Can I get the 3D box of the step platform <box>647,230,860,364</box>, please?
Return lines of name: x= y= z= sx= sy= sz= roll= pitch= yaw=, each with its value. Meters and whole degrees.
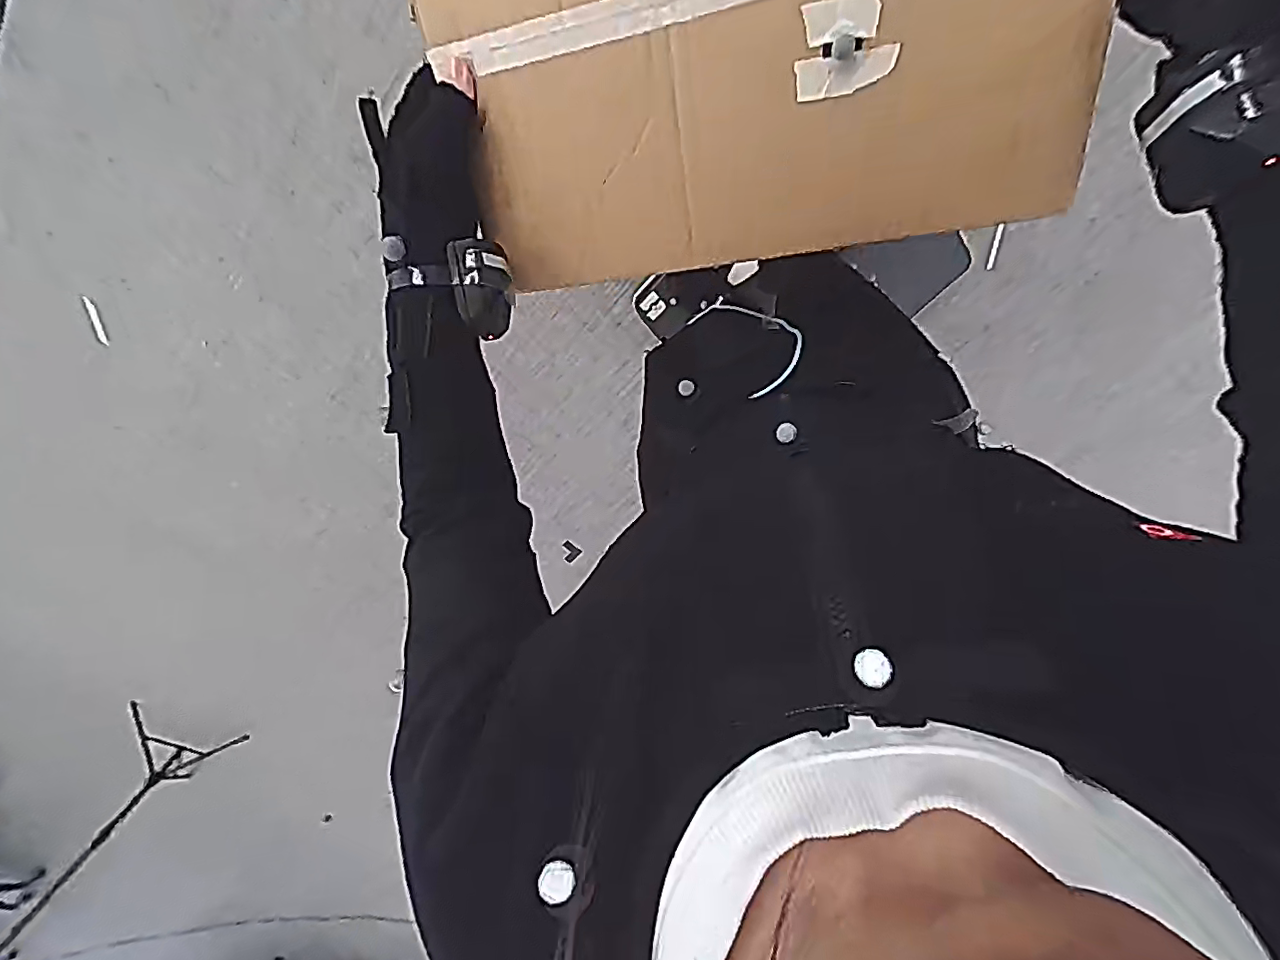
step platform: x=0.326 y=-0.613 z=1.315 sx=0.286 sy=0.204 sz=0.684 roll=39 pitch=112 yaw=-15

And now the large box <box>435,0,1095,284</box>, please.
large box: x=0.086 y=-0.383 z=0.455 sx=0.408 sy=0.320 sz=0.320 roll=-3 pitch=121 yaw=16
